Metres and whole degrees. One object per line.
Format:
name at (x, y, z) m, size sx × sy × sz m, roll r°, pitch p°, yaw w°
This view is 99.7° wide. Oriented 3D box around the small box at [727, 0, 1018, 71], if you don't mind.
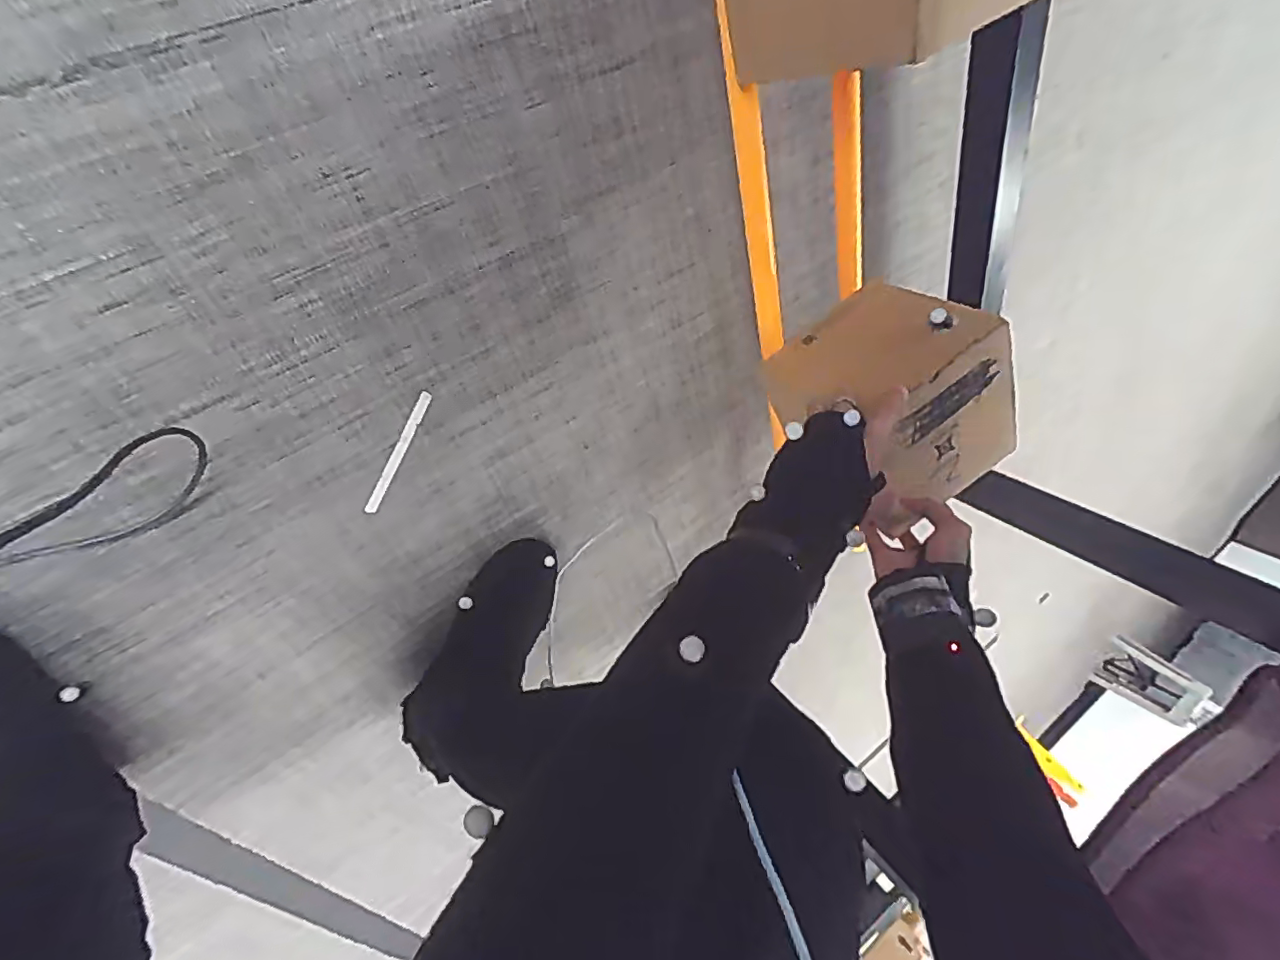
small box at (0.159, -0.389, 0.335) m, size 0.168 × 0.176 × 0.179 m, roll -34°, pitch 133°, yaw -14°
